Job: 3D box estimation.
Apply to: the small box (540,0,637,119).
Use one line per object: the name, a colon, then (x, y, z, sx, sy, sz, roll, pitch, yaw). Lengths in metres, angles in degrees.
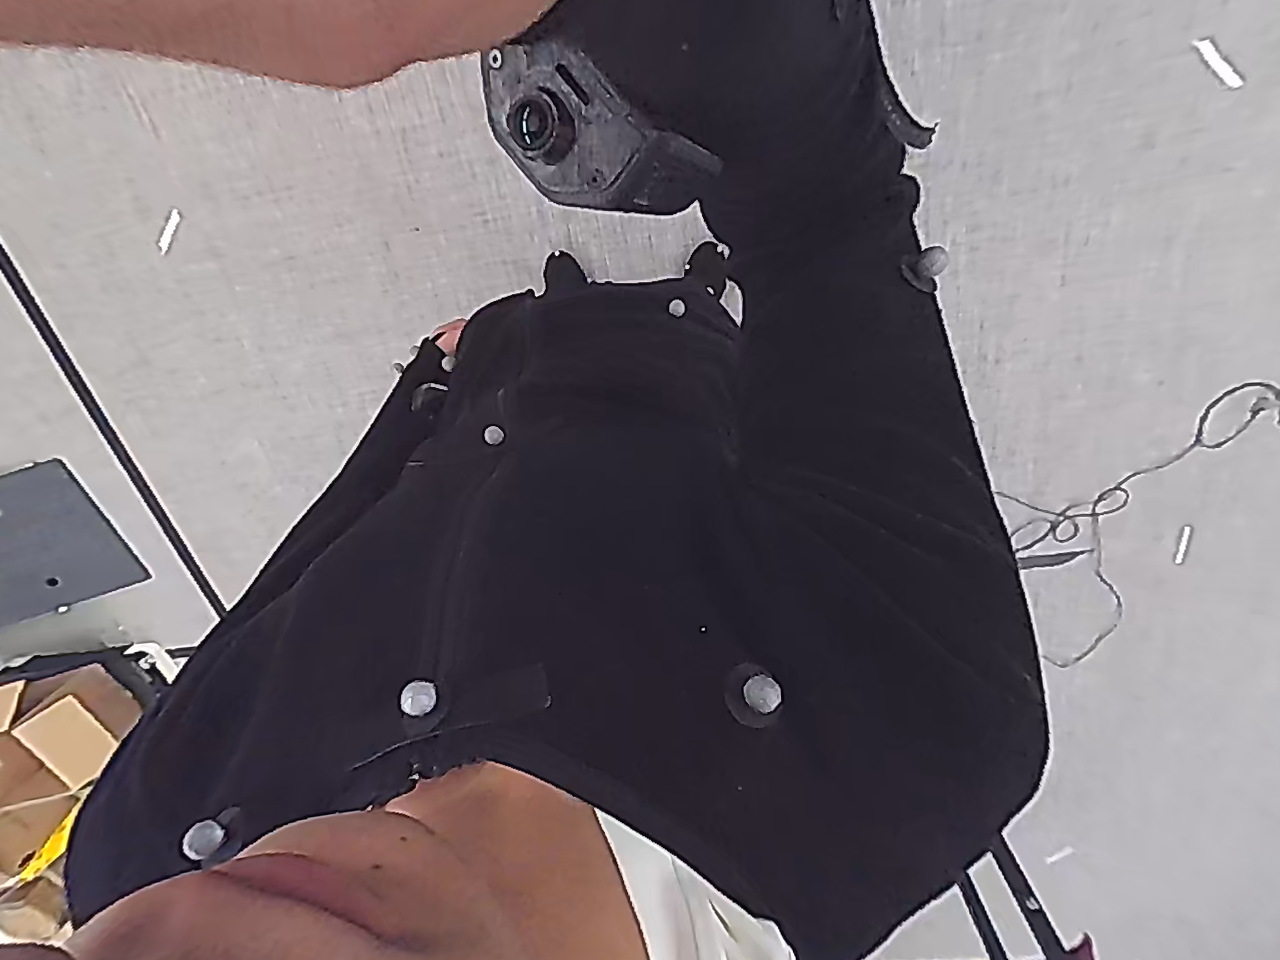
small box: (-0.105, -0.934, 1.198, 0.168, 0.176, 0.179, -10, 114, 9)
